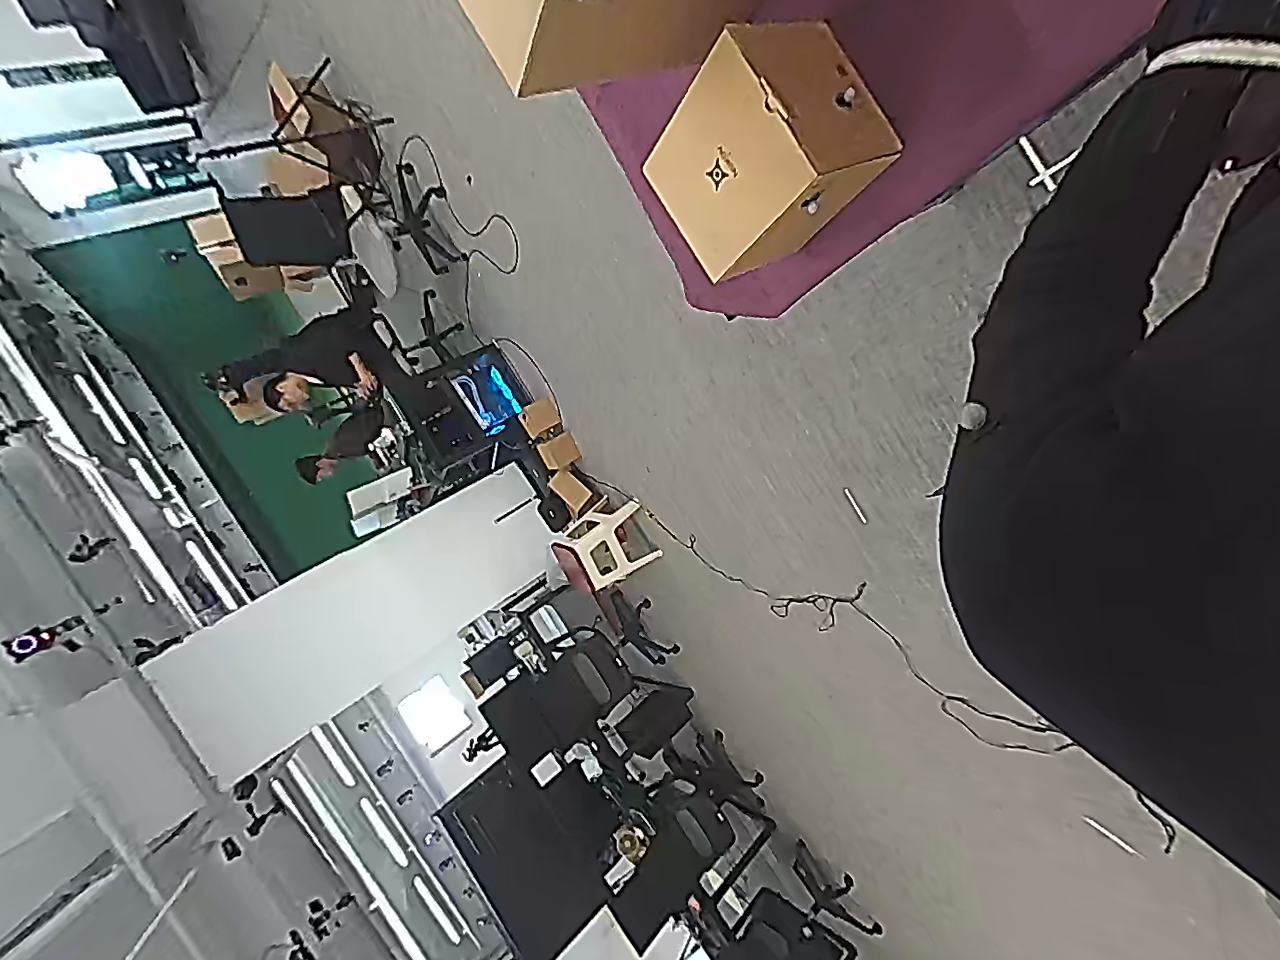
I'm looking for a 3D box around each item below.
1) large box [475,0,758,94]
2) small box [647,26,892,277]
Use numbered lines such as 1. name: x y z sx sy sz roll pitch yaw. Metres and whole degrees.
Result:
1. large box: -0.042 -0.661 0.472 0.408 0.320 0.320 56 153 -5
2. small box: 0.145 -0.370 0.621 0.168 0.176 0.179 57 149 1
